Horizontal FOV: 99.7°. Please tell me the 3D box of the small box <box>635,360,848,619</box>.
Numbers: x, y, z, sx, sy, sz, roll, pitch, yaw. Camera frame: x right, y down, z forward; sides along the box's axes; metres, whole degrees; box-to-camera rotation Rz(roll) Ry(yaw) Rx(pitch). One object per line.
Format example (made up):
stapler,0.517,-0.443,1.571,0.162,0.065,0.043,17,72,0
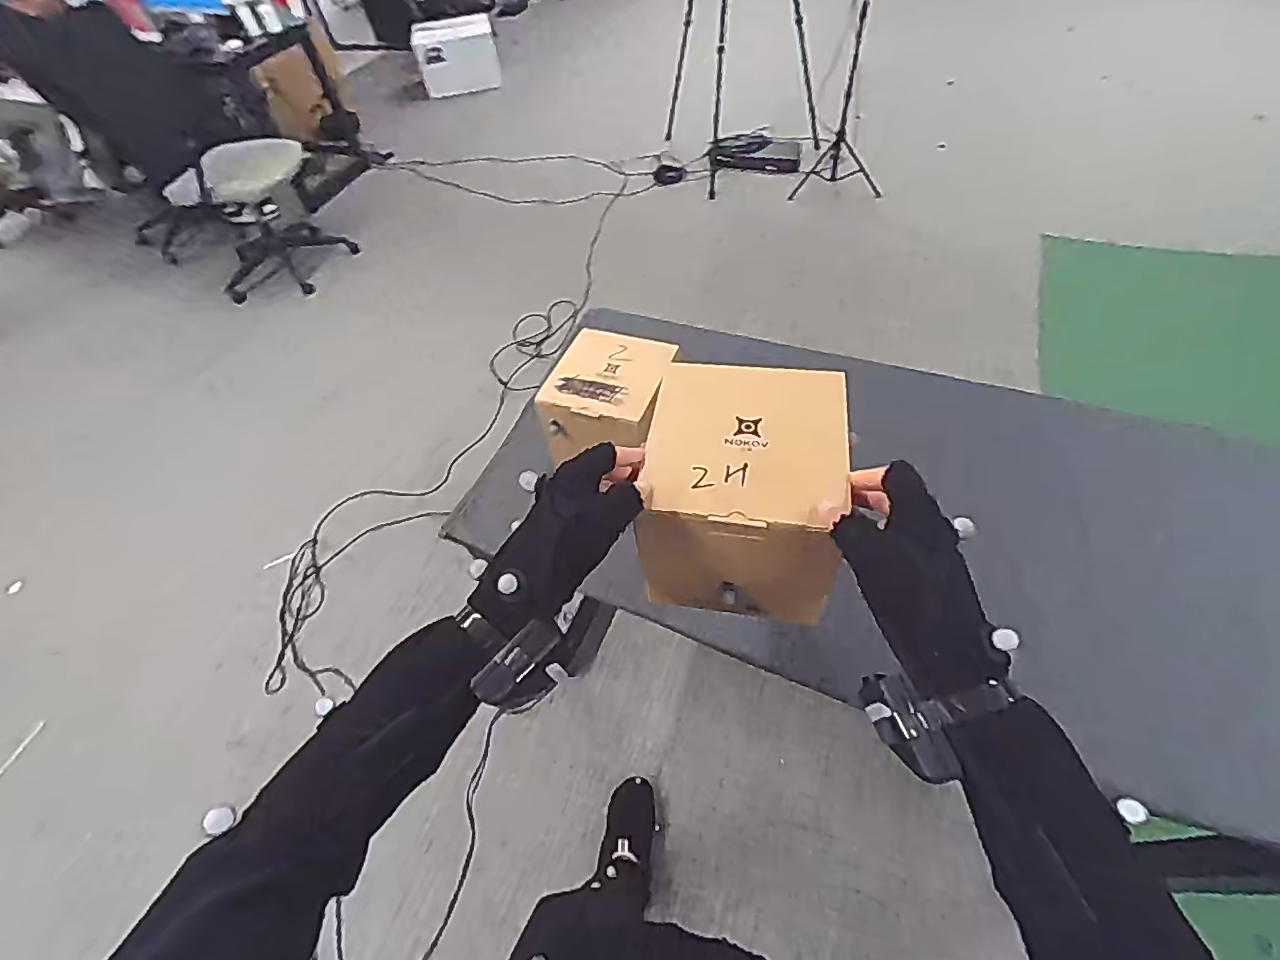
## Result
small box,0.098,0.010,0.523,0.168,0.176,0.179,6,54,12
